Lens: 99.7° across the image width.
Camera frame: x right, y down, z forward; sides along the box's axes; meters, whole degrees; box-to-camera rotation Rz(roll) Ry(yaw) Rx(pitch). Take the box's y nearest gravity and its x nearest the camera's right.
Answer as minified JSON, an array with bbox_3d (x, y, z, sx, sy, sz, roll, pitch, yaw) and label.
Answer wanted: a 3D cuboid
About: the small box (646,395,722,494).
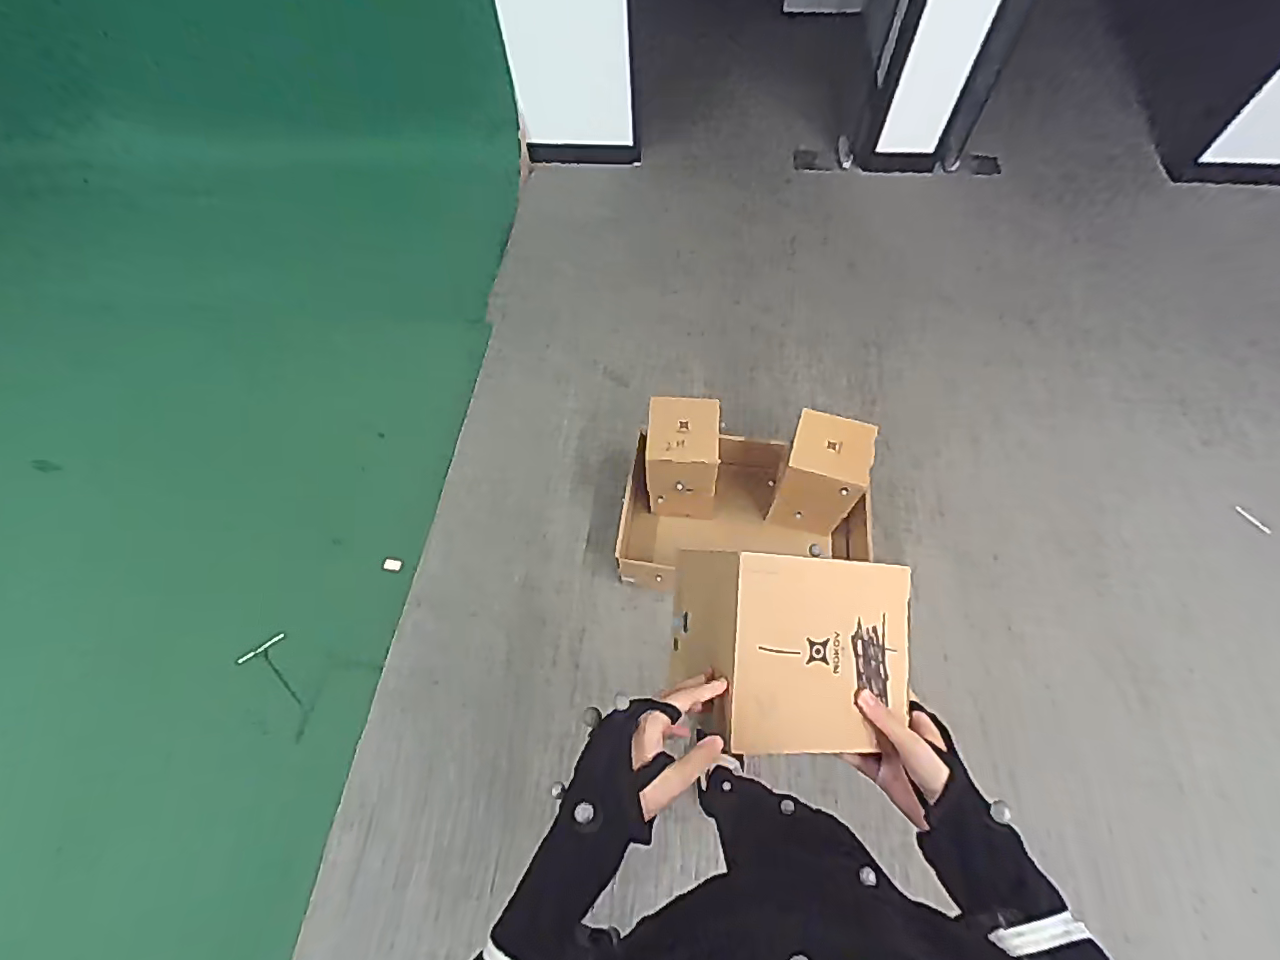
[{"bbox_3d":[0.106,-0.085,1.316,0.168,0.176,0.179,4,64,6],"label":"small box"}]

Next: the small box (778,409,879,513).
[{"bbox_3d":[0.439,-0.039,1.280,0.179,0.176,0.168,17,66,11],"label":"small box"}]

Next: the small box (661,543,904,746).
[{"bbox_3d":[0.133,0.153,0.546,0.179,0.176,0.168,7,81,-13],"label":"small box"}]
